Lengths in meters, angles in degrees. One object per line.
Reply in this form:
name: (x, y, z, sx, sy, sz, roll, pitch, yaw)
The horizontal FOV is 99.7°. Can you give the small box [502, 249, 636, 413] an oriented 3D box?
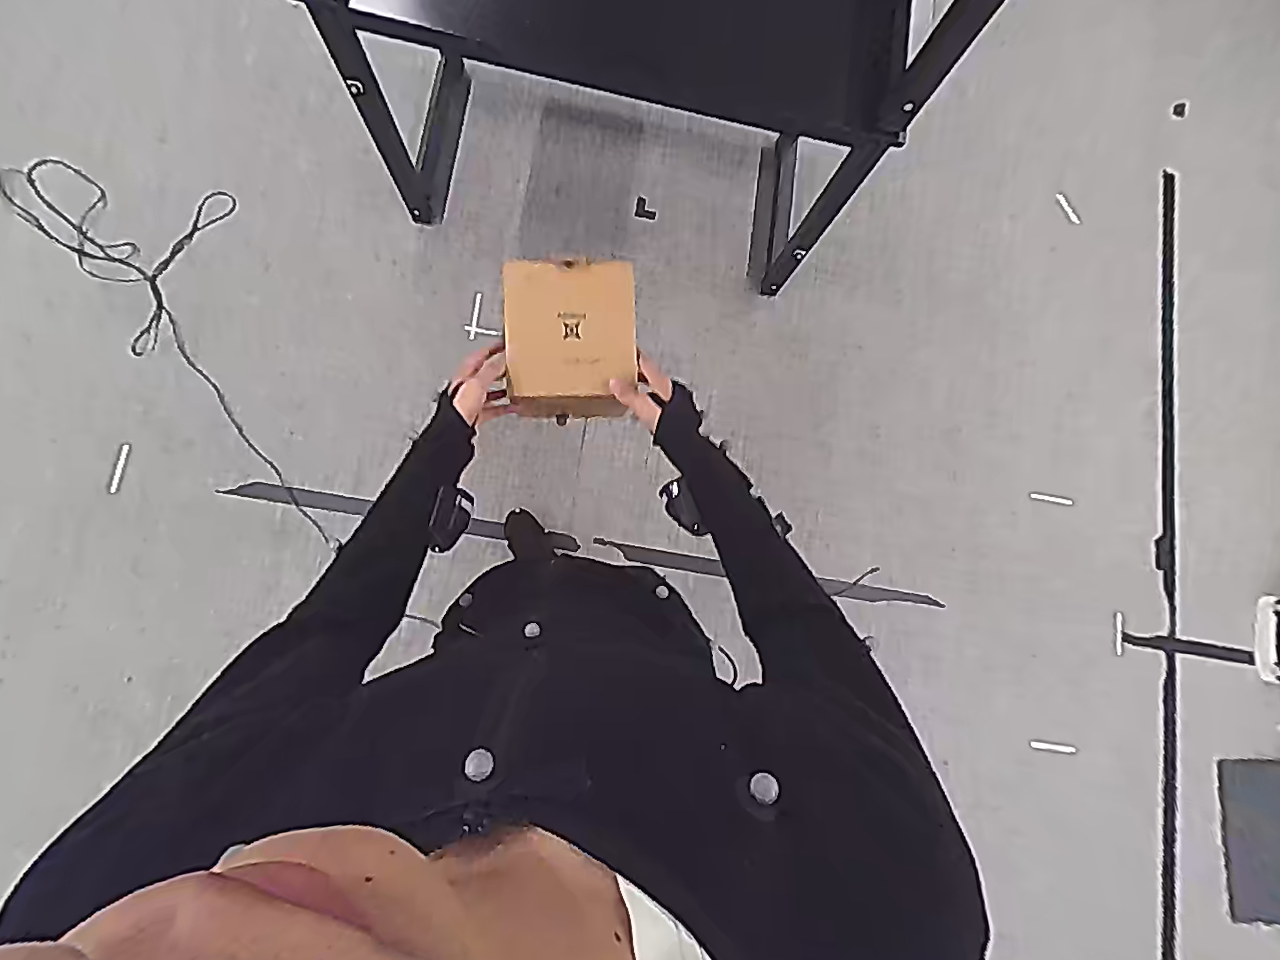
small box: (-0.098, -0.195, 0.750, 0.168, 0.176, 0.179, -2, 86, -7)
